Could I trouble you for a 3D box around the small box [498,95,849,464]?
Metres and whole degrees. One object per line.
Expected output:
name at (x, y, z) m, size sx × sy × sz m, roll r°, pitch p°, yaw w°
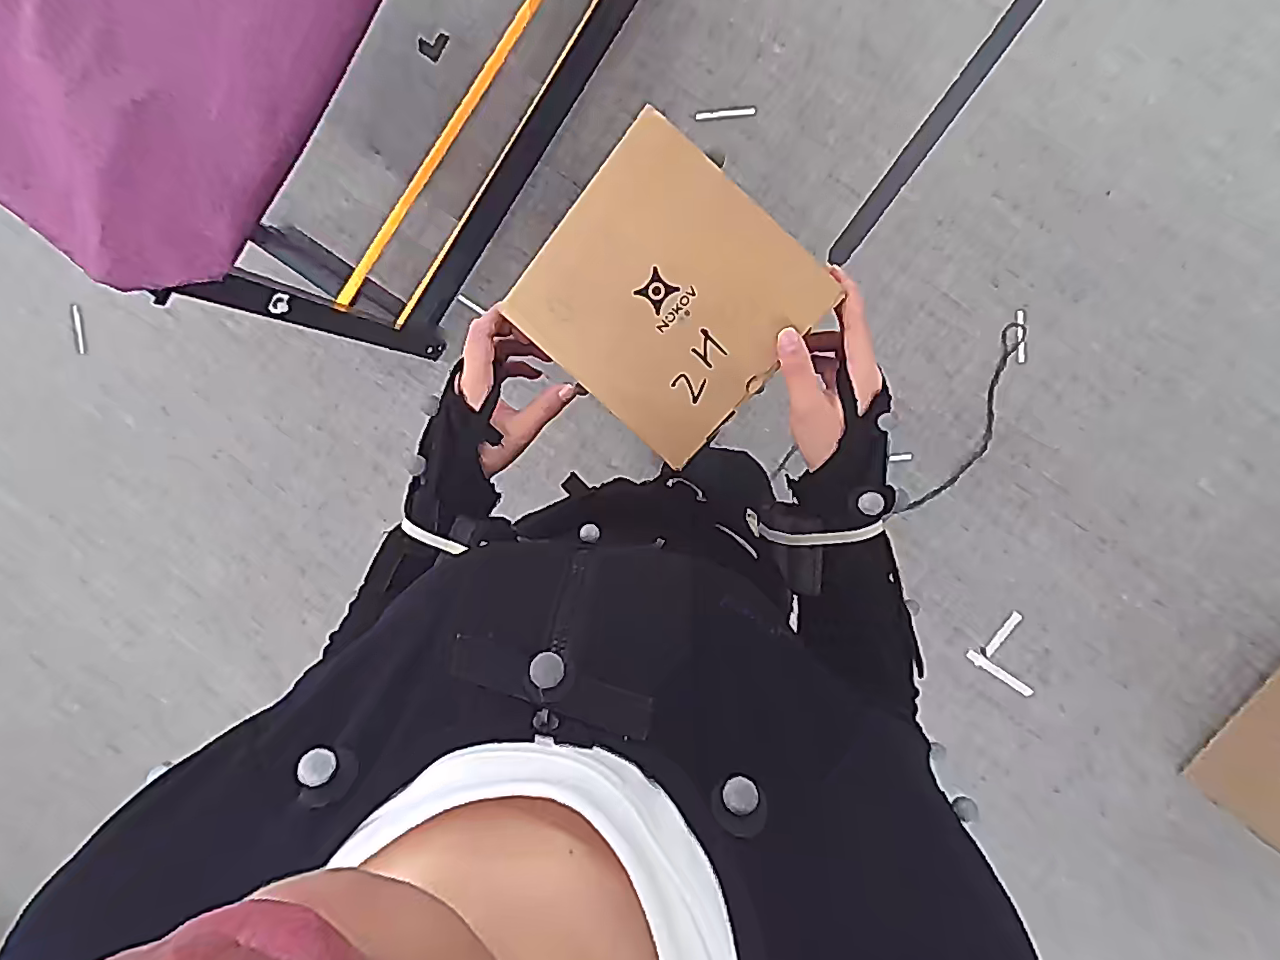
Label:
small box at (0.027, -0.142, 0.432) m, size 0.179 × 0.176 × 0.168 m, roll 43°, pitch 106°, yaw -5°
